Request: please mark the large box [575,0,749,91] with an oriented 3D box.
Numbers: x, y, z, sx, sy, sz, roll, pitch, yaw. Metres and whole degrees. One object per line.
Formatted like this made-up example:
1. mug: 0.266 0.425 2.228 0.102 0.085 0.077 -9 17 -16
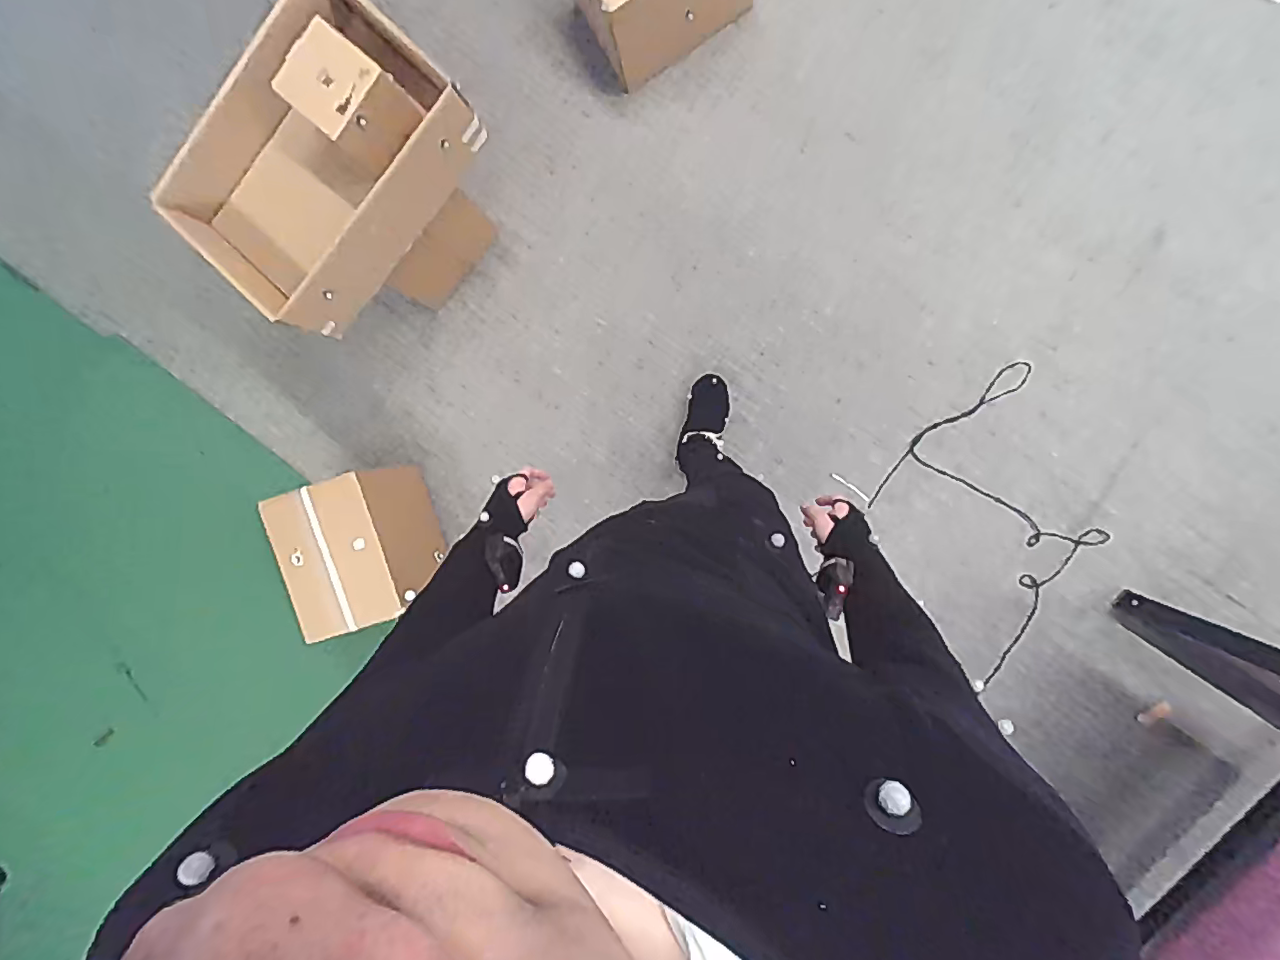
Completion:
1. large box: 0.039 -1.305 1.344 0.408 0.320 0.320 -31 90 10
